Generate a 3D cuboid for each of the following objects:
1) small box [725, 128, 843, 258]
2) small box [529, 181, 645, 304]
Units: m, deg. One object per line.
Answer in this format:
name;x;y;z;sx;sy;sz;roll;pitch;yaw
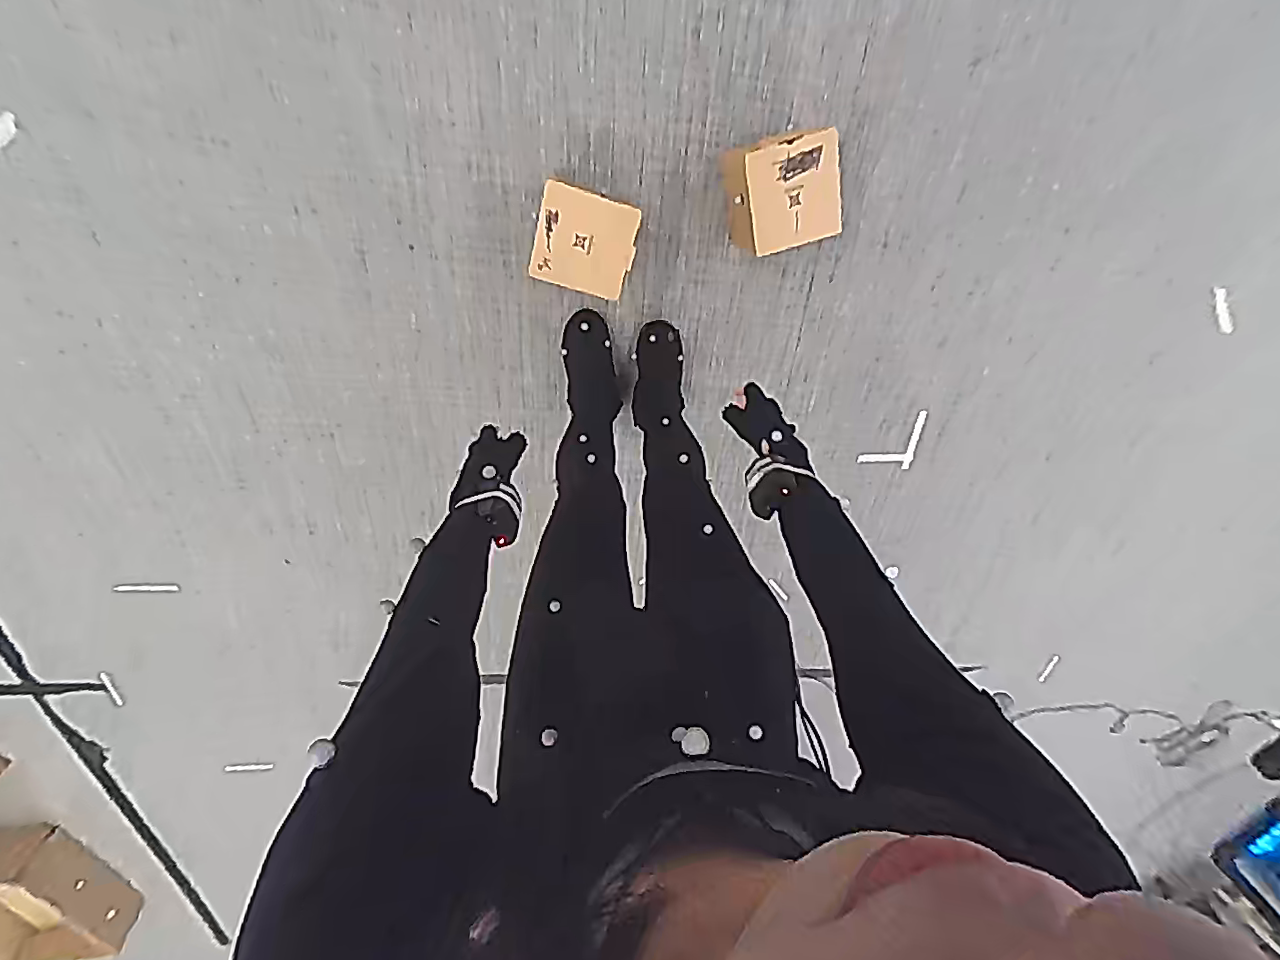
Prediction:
small box;0.268;-0.542;1.026;0.168;0.176;0.179;-15;122;2
small box;-0.104;-0.458;1.033;0.179;0.176;0.168;13;118;-14
